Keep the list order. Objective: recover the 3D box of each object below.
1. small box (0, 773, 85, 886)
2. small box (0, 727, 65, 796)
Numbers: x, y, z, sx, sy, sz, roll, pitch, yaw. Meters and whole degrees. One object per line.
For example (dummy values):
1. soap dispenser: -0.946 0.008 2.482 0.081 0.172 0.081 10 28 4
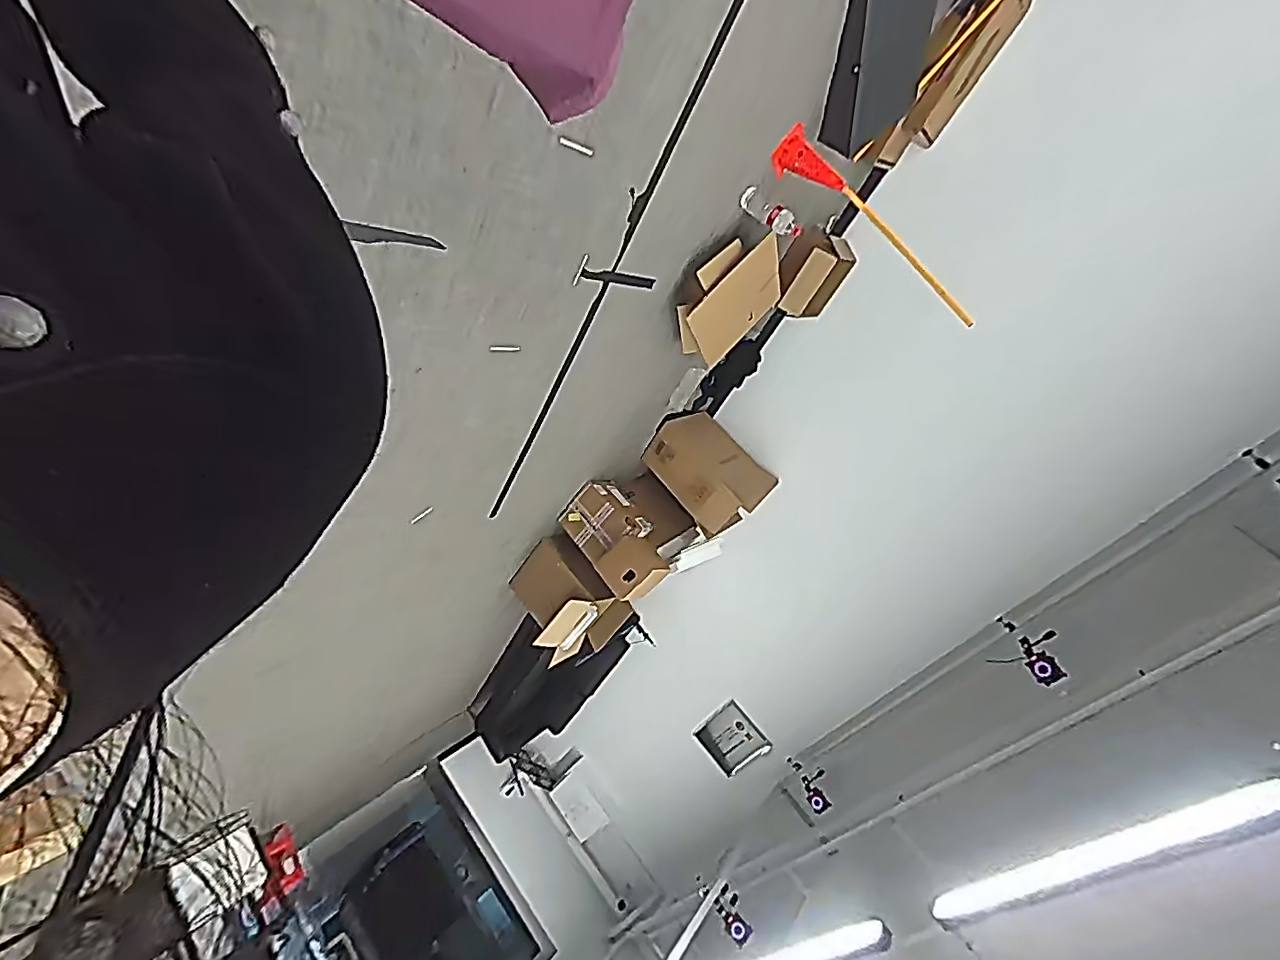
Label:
1. small box: -1.654 0.942 1.470 0.168 0.176 0.179 -19 147 -51
2. small box: -1.767 0.839 1.525 0.179 0.176 0.168 -19 147 -50
